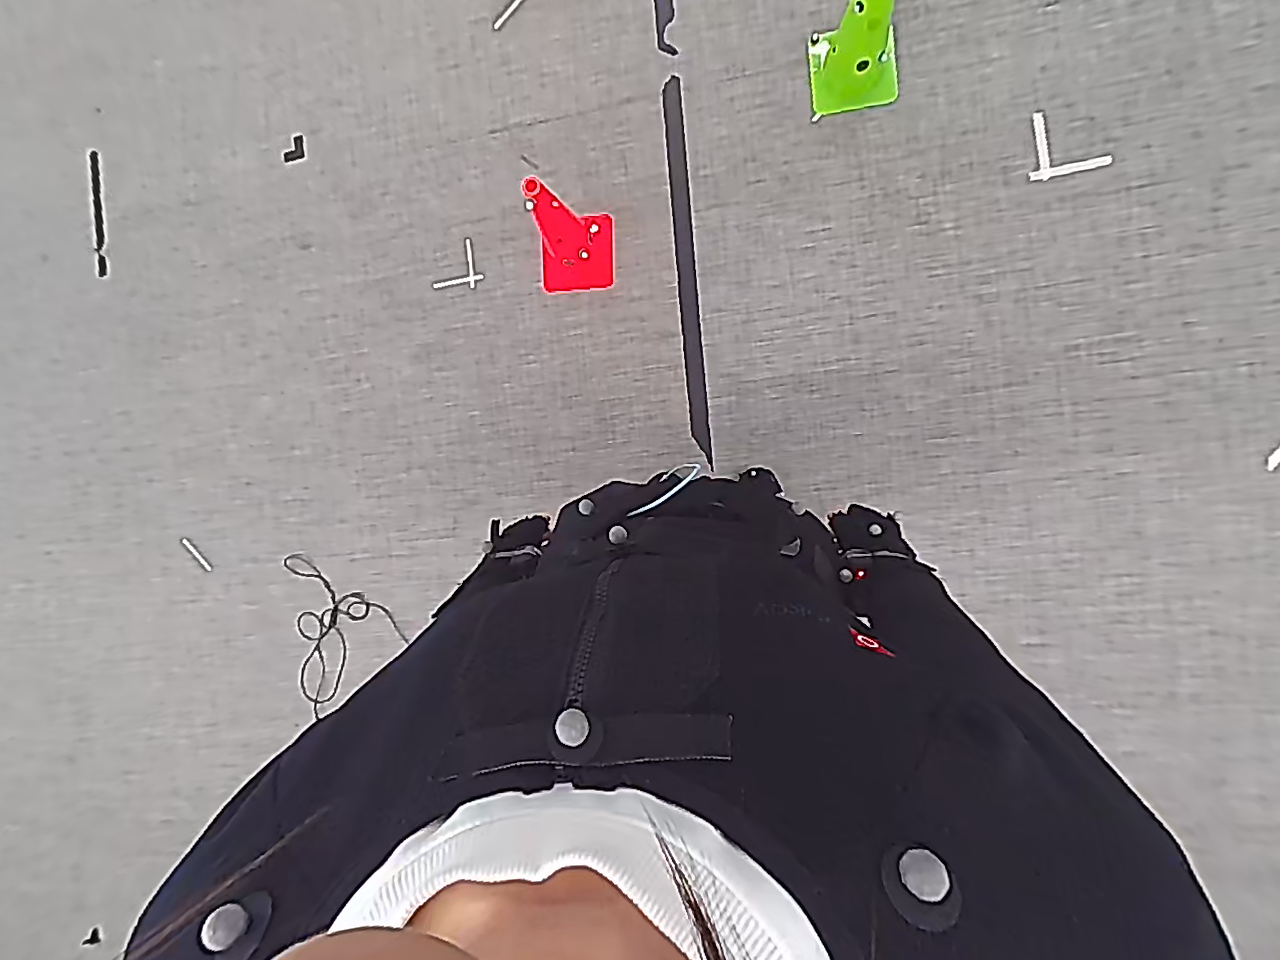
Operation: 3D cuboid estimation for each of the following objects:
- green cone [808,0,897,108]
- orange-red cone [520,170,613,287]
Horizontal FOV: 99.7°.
[{"bbox_3d":[0.496,-1.020,1.156,0.202,0.368,0.200,-5,90,8],"label":"green cone"},{"bbox_3d":[-0.202,-0.620,1.286,0.199,0.360,0.198,0,90,11],"label":"orange-red cone"}]
